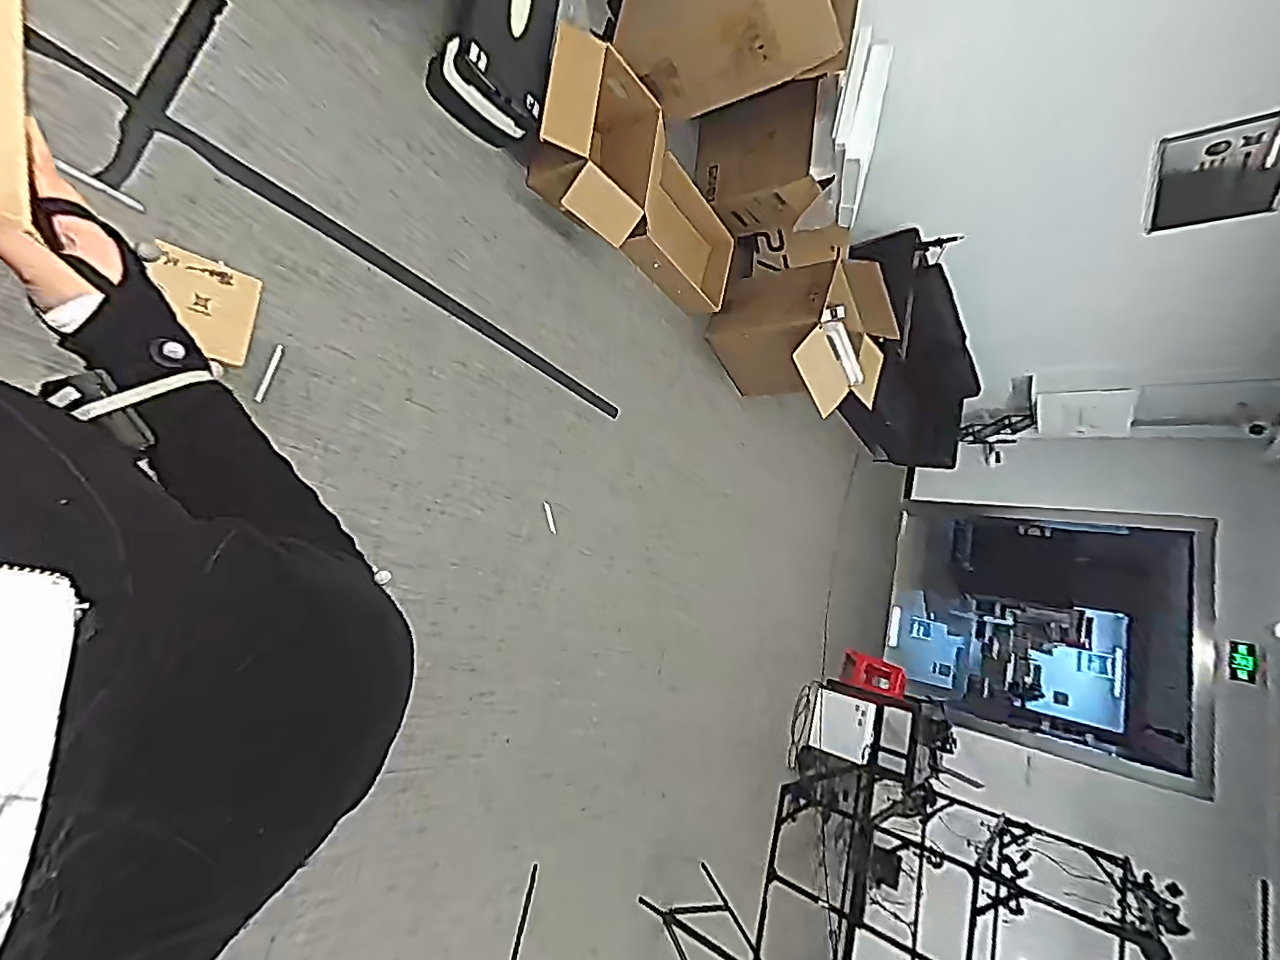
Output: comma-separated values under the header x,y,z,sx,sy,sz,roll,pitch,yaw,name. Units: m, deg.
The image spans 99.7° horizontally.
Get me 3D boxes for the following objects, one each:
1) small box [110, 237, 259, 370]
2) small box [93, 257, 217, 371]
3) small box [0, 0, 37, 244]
x,y,z,sx,sy,sz,roll,pitch,yaw,name
-0.849,-0.314,1.006,0.168,0.176,0.179,17,80,-51,small box
-0.973,-0.330,1.112,0.179,0.176,0.168,19,78,-51,small box
-0.501,-0.246,0.318,0.179,0.176,0.168,-5,101,-56,small box
